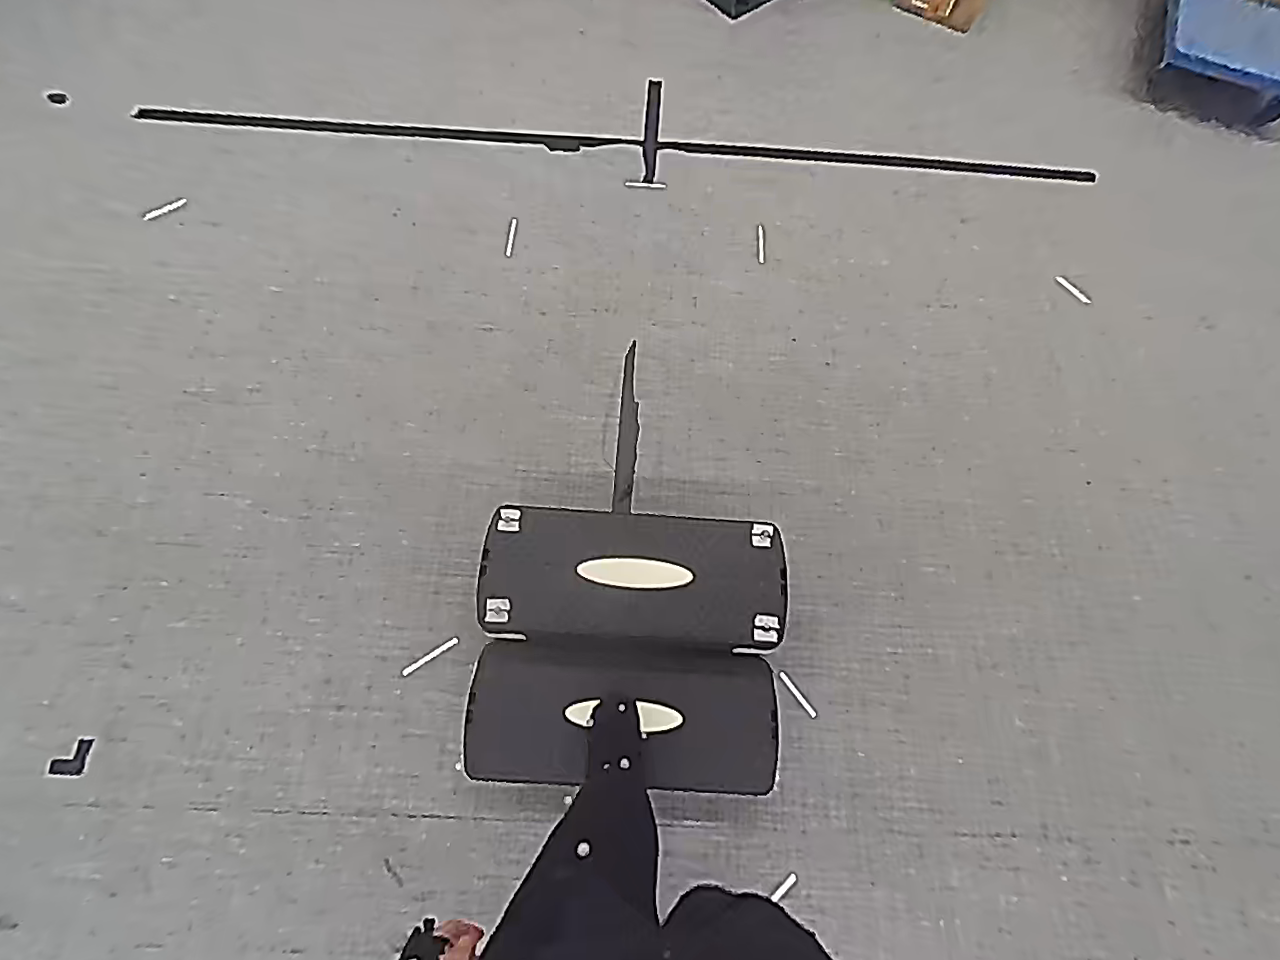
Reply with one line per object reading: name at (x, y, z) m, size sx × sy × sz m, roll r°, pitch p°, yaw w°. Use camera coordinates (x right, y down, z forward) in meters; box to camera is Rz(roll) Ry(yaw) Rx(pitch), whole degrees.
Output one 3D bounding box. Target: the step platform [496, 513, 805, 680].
step platform at (0.024, 0.268, 1.243) m, size 0.684 × 0.204 × 0.286 m, roll 8°, pitch 67°, yaw 0°
